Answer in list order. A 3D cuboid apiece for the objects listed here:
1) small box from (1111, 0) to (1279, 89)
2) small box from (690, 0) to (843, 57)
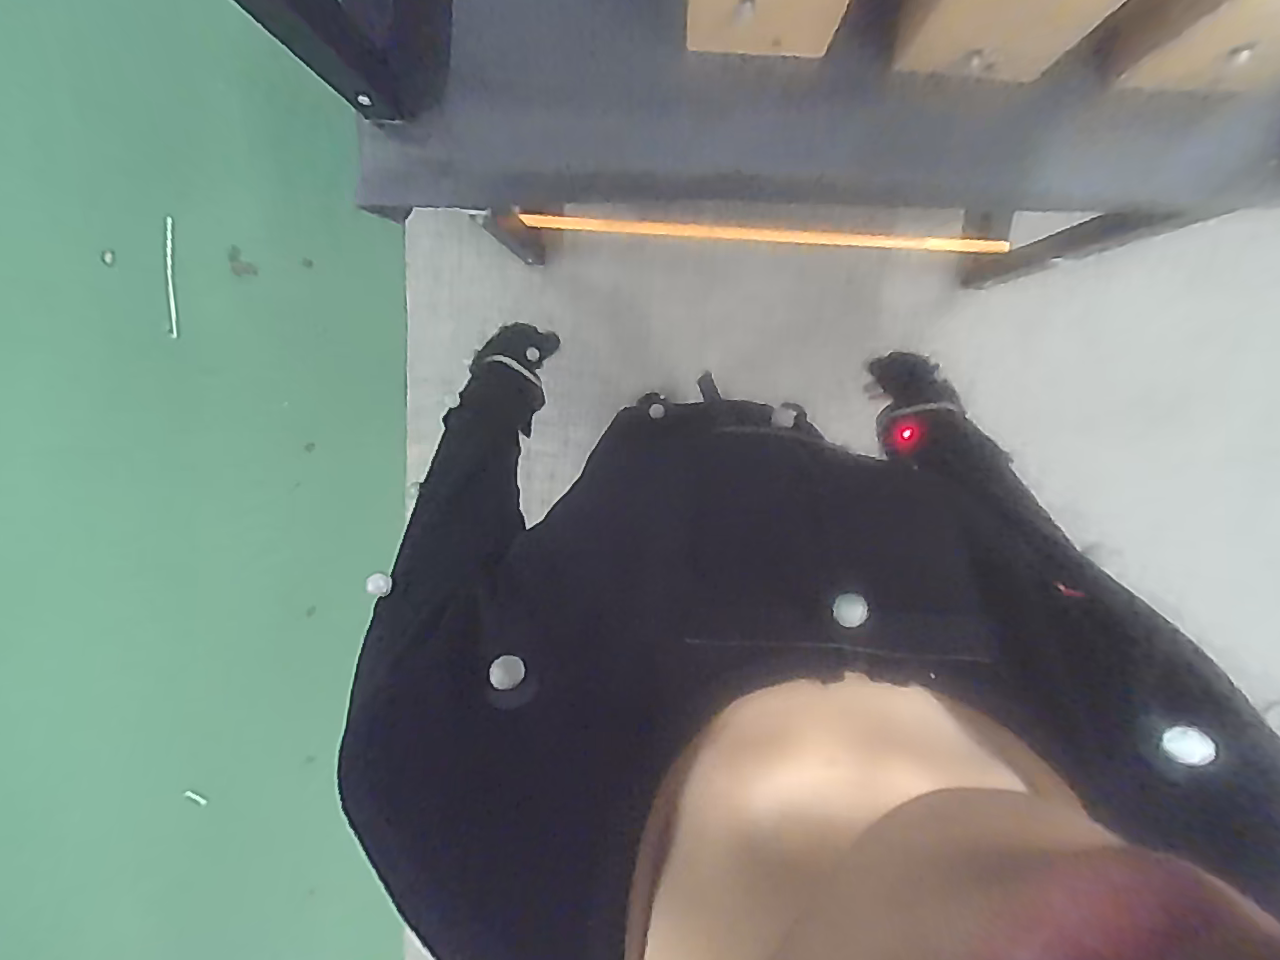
[{"bbox_3d":[0.631,-0.531,0.544,0.168,0.176,0.179,4,99,2],"label":"small box"},{"bbox_3d":[0.141,-0.586,0.566,0.168,0.176,0.179,5,99,2],"label":"small box"}]
